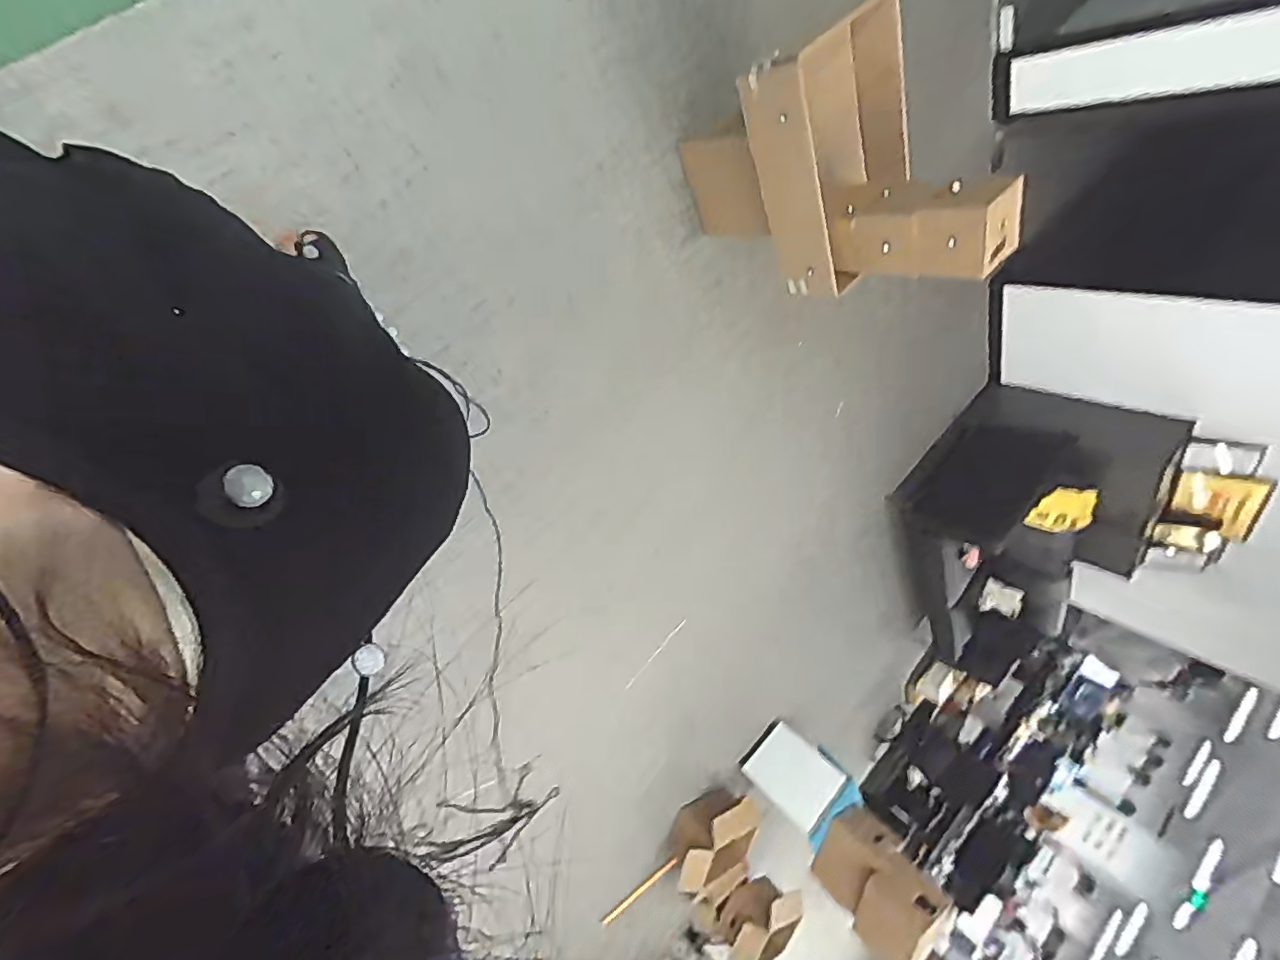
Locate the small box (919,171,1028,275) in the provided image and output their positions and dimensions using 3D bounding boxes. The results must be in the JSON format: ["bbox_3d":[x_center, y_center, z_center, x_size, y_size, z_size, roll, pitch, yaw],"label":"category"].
[{"bbox_3d":[0.811,-0.632,1.329,0.168,0.176,0.179,-41,131,-17],"label":"small box"}]
